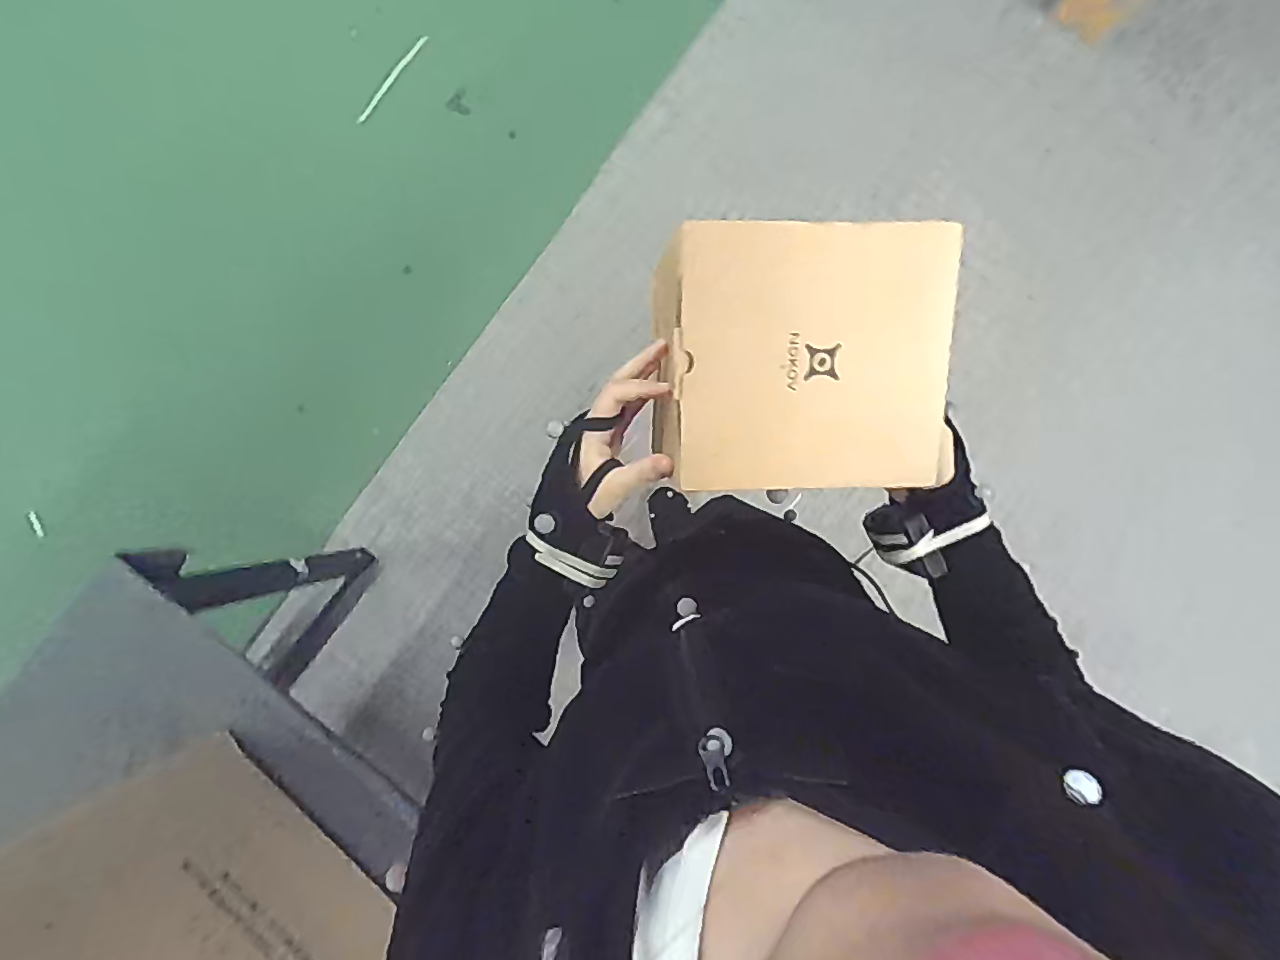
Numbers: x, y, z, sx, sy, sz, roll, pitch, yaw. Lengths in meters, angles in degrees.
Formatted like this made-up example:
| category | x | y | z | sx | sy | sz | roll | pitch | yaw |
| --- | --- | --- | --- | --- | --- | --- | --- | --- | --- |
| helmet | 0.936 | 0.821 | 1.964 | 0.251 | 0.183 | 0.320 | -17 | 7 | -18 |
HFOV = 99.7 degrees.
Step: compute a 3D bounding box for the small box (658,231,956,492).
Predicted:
| category | x | y | z | sx | sy | sz | roll | pitch | yaw |
| --- | --- | --- | --- | --- | --- | --- | --- | --- | --- |
| small box | 0.108 | -0.090 | 0.426 | 0.179 | 0.176 | 0.168 | -2 | 102 | -1 |
